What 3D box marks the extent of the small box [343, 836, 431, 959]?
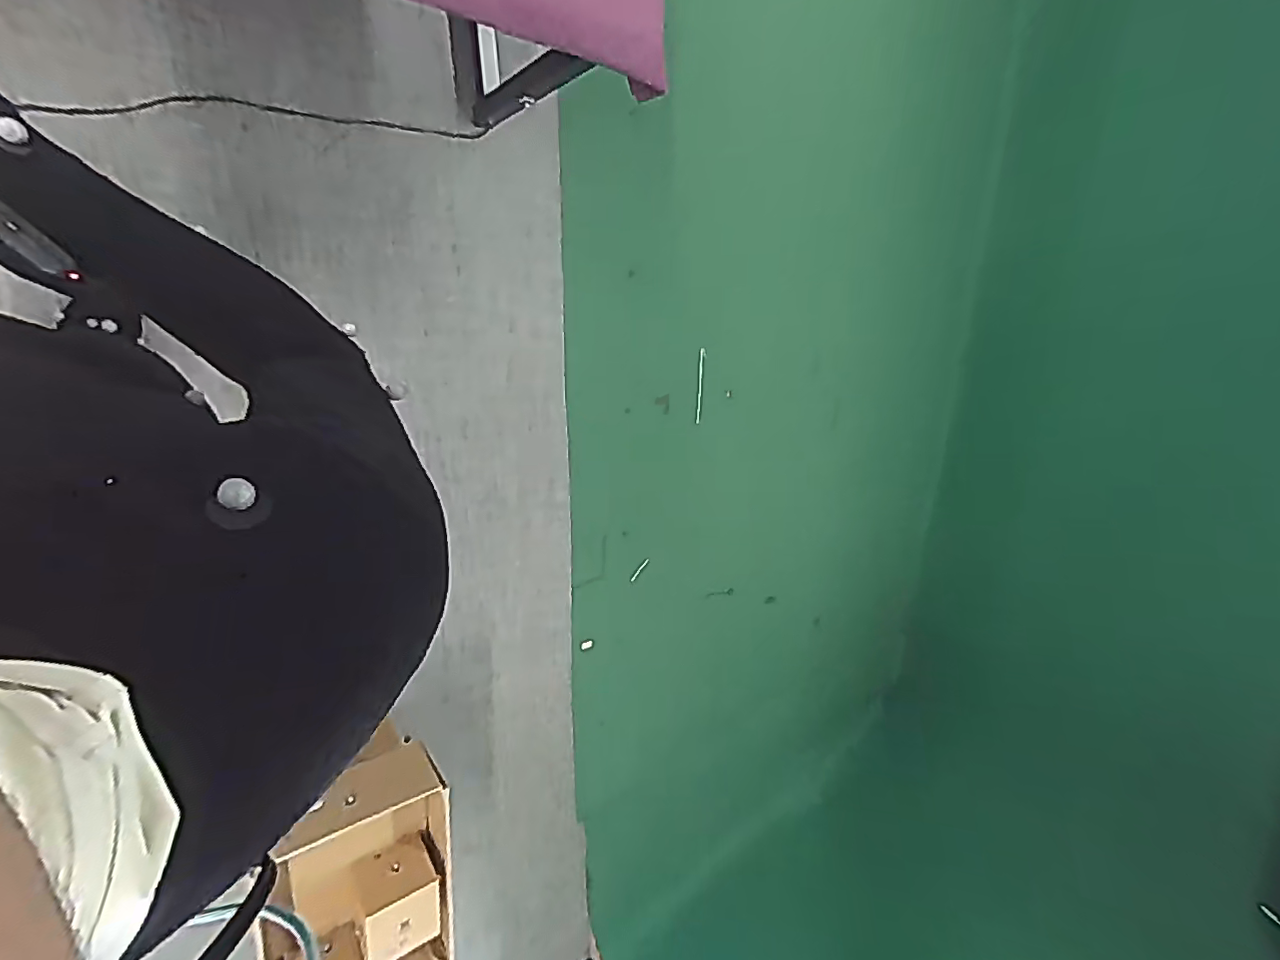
[{"bbox_3d":[-0.629,1.031,1.341,0.168,0.176,0.179,-6,108,-38],"label":"small box"}]
